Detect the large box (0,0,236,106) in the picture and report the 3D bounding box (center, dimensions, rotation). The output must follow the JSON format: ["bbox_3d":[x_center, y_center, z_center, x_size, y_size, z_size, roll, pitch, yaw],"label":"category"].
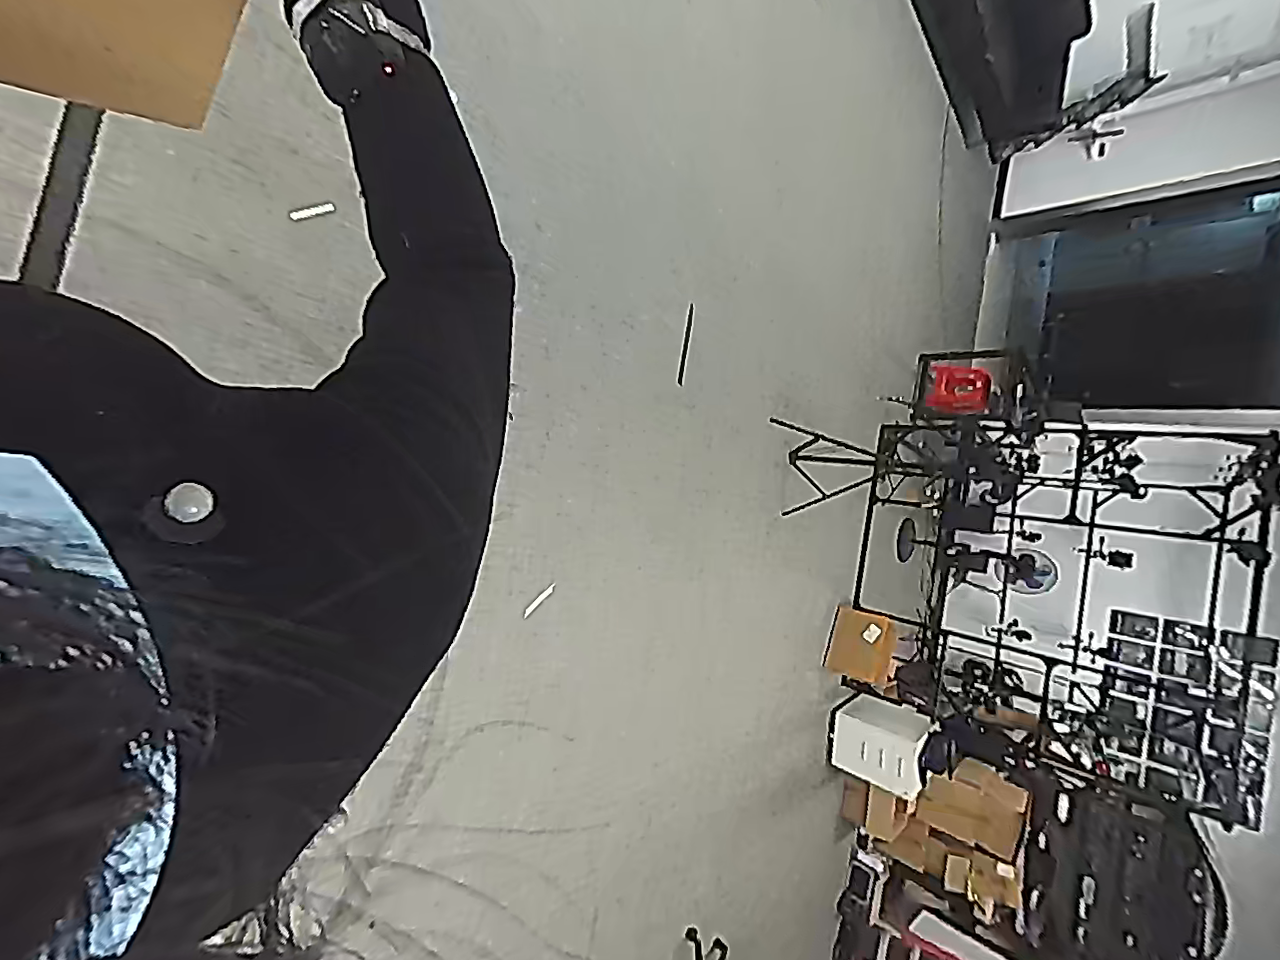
[{"bbox_3d":[-0.489,-0.480,0.280,0.408,0.320,0.320,-14,98,-45],"label":"large box"}]
